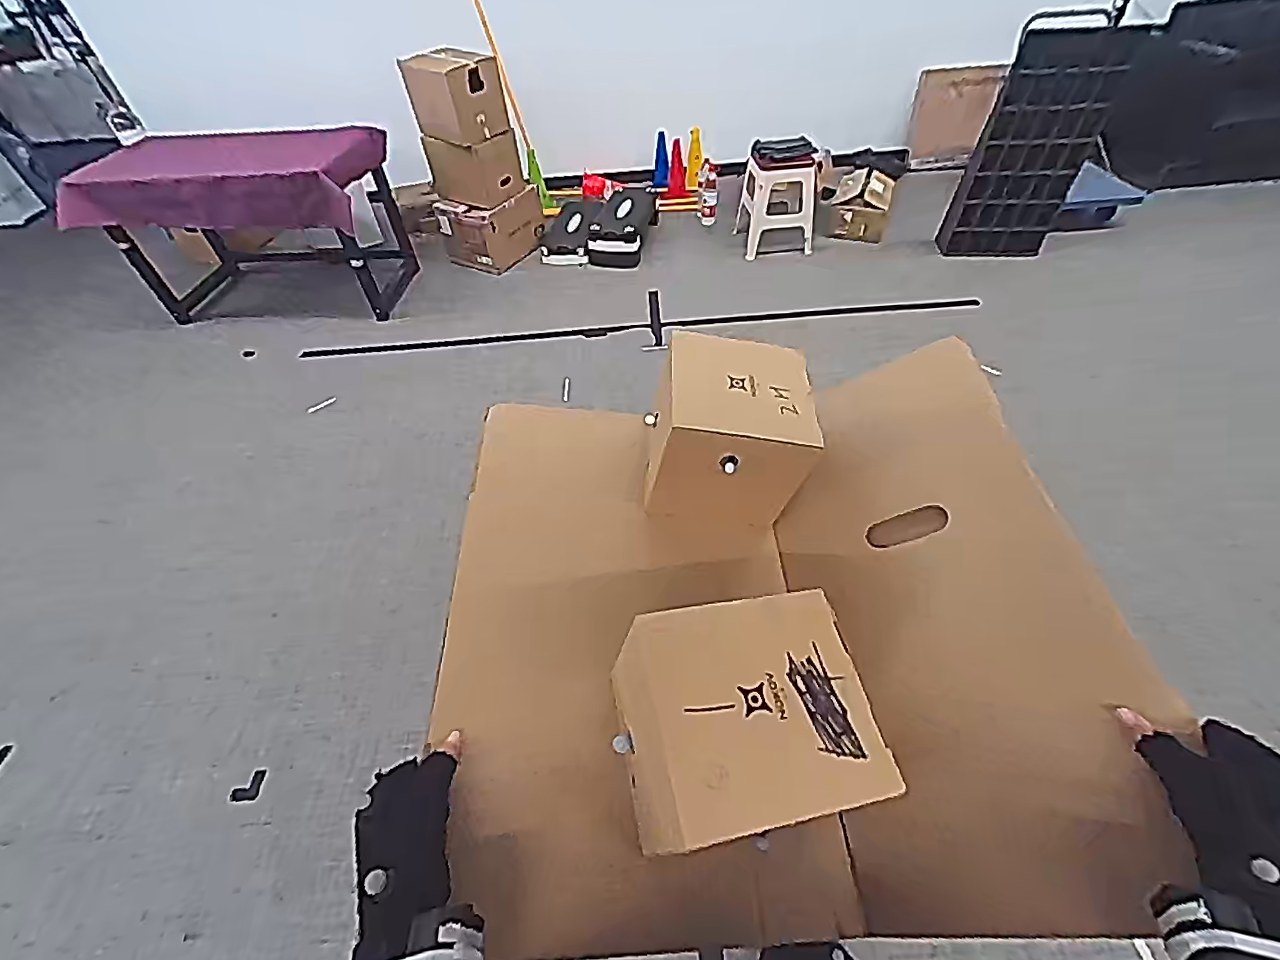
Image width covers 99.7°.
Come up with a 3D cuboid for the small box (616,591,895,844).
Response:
[{"bbox_3d":[0.085,0.219,0.498,0.179,0.176,0.168,-5,55,-14],"label":"small box"}]

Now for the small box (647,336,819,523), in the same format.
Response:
[{"bbox_3d":[0.108,-0.059,0.709,0.179,0.176,0.168,8,53,-6],"label":"small box"}]
